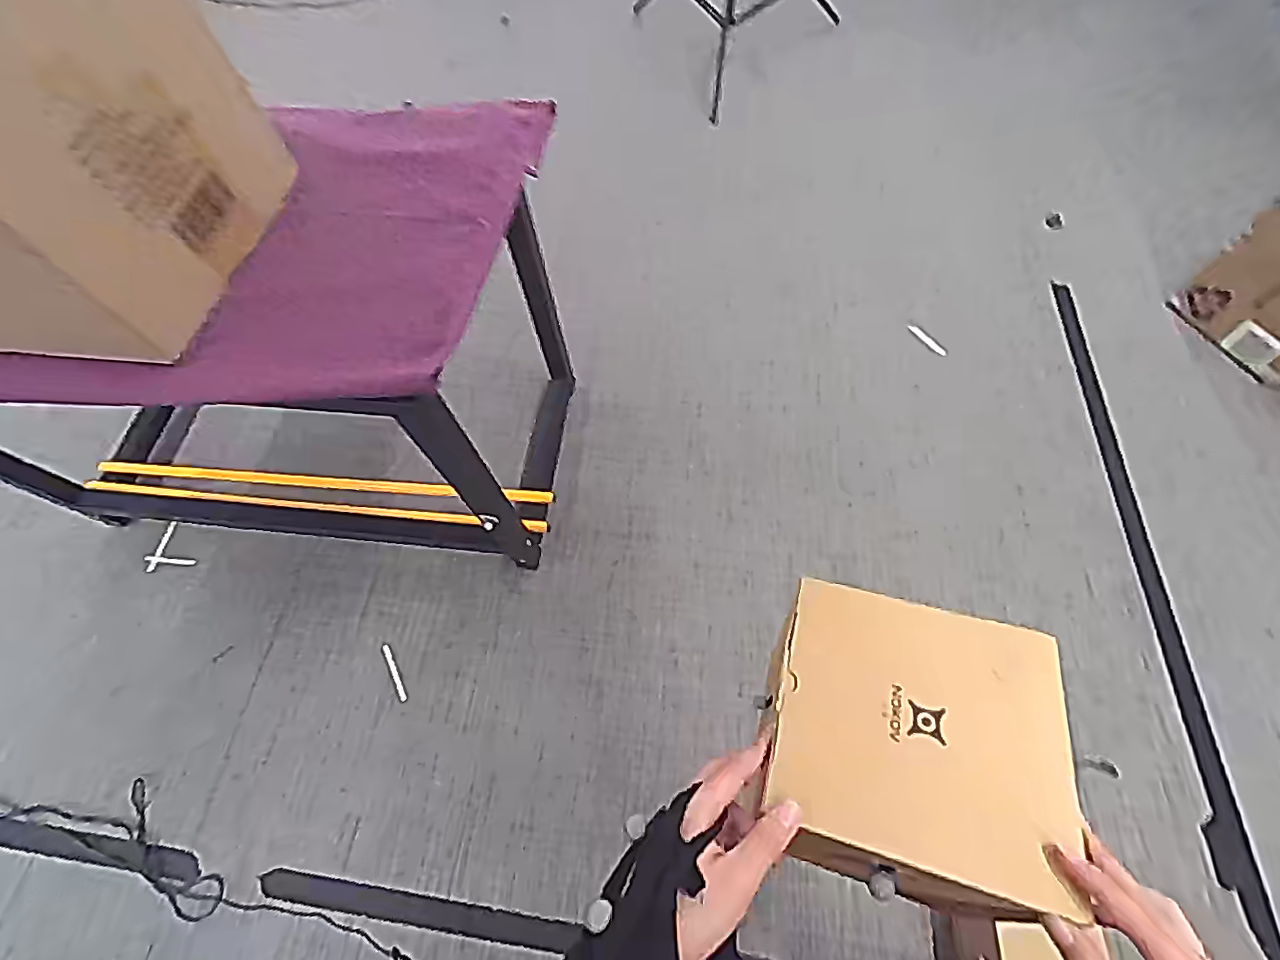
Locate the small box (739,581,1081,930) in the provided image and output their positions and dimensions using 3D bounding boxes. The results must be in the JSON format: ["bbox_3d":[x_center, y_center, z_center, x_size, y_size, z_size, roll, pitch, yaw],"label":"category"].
[{"bbox_3d":[0.180,0.204,0.411,0.179,0.176,0.168,11,54,14],"label":"small box"}]
